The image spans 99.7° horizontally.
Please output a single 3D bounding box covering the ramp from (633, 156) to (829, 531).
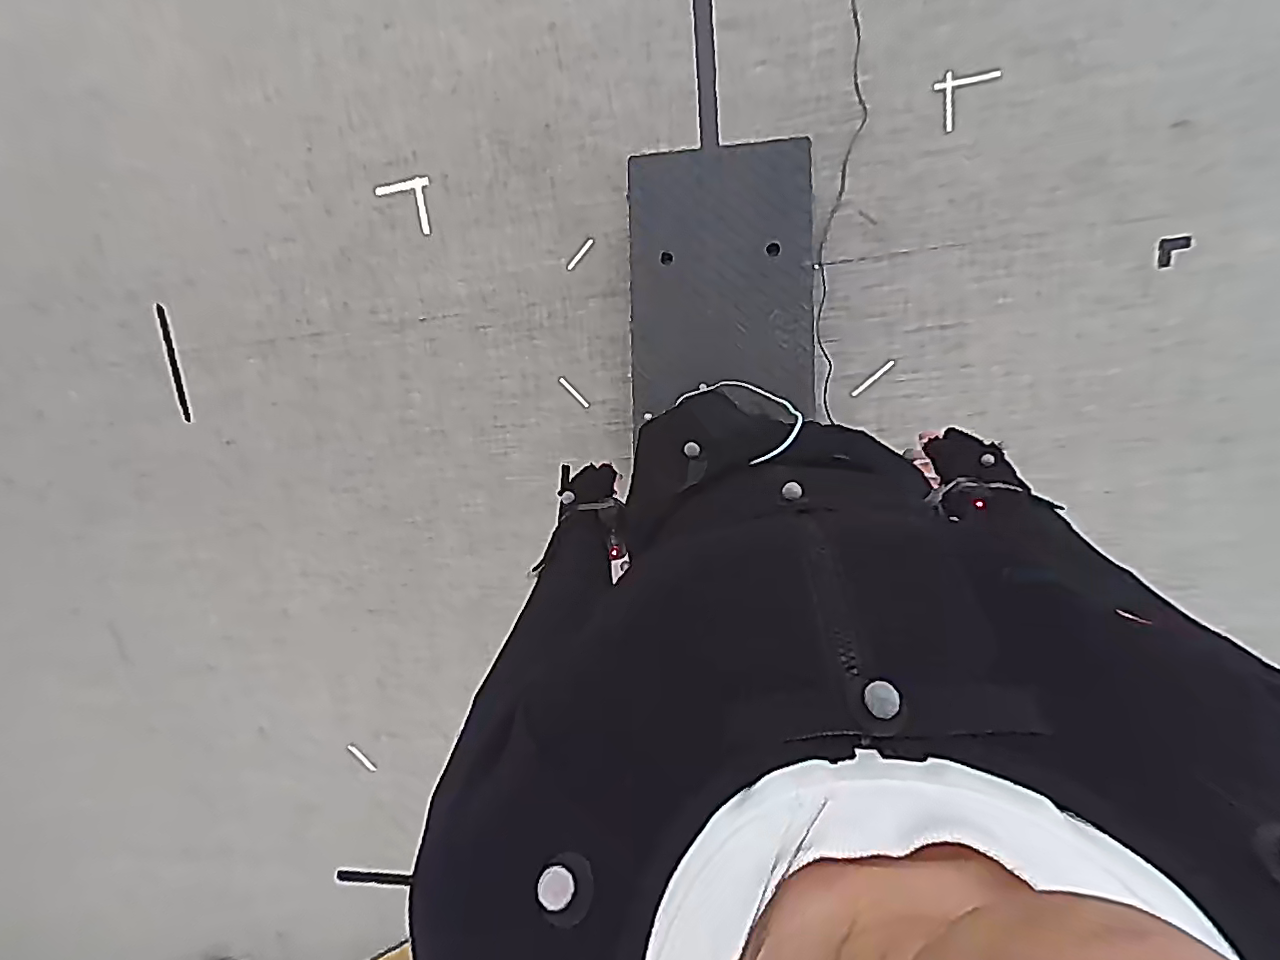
[{"bbox_3d":[0.235,-0.366,1.480,0.509,0.206,0.991,-4,97,11],"label":"ramp"}]
